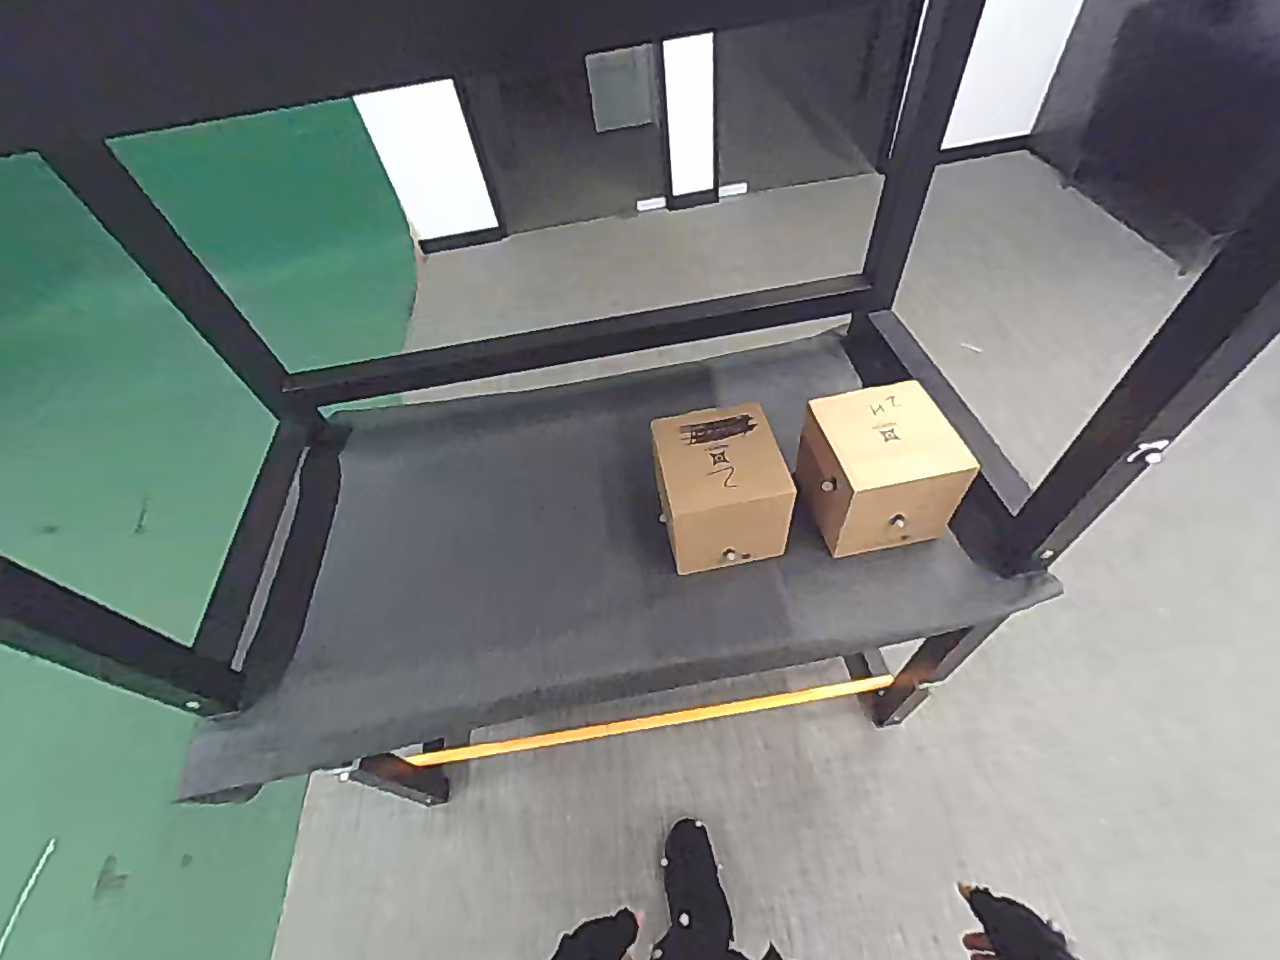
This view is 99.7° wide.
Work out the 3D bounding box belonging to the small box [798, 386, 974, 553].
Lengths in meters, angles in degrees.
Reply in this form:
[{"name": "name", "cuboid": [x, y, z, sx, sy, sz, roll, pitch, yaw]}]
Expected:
[{"name": "small box", "cuboid": [0.346, -0.008, 0.802, 0.168, 0.176, 0.179, -11, 50, -1]}]
